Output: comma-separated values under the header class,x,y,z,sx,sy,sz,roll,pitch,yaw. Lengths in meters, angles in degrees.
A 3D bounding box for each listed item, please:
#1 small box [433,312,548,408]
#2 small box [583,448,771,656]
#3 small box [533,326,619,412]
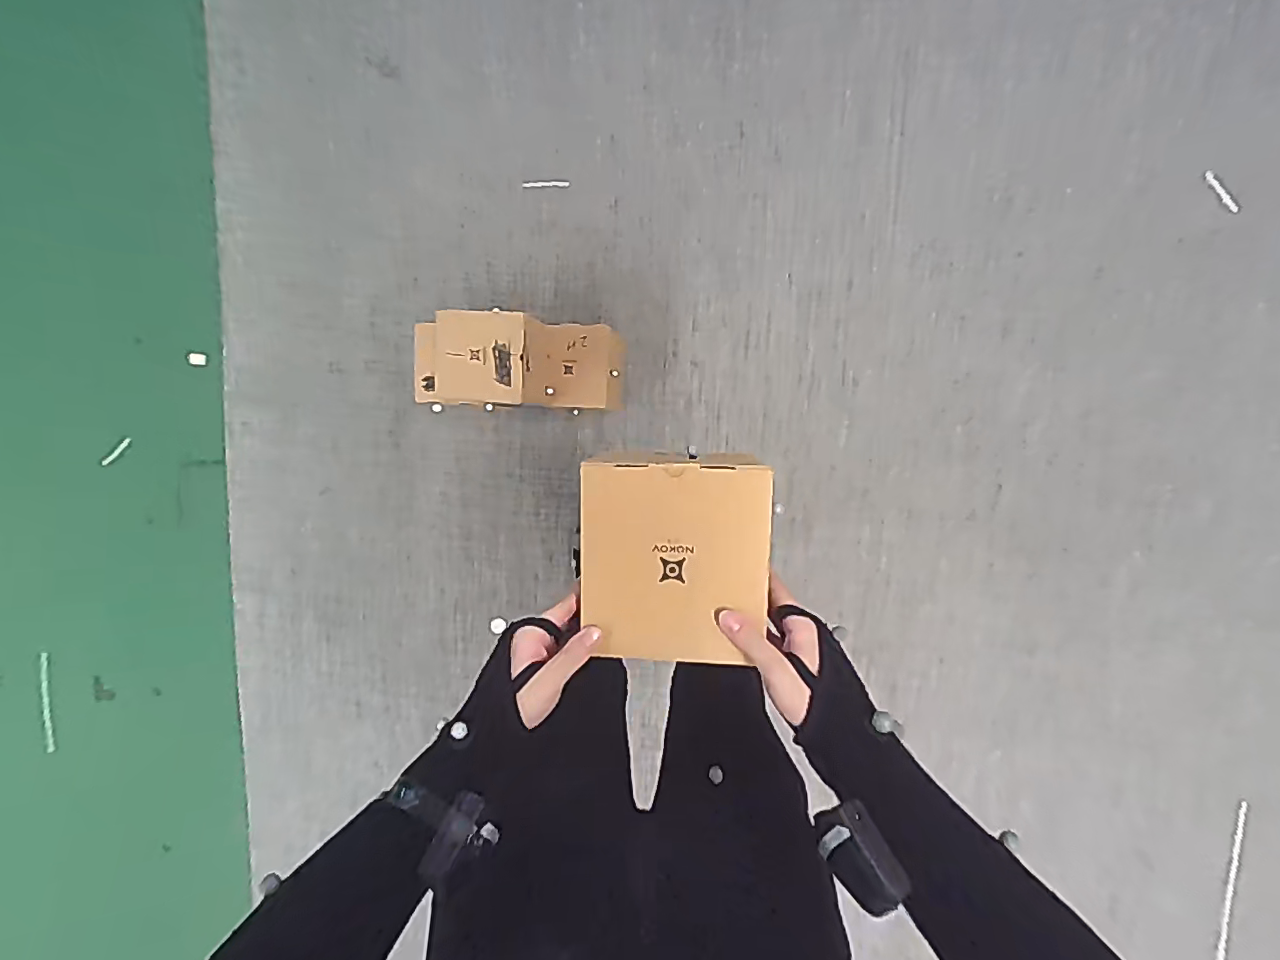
class,x,y,z,sx,sy,sz,roll,pitch,yaw
small box,-0.289,-0.233,1.079,0.179,0.176,0.168,4,96,7
small box,0.040,0.059,0.555,0.168,0.176,0.179,1,95,6
small box,-0.143,-0.246,1.224,0.168,0.176,0.179,3,96,7
